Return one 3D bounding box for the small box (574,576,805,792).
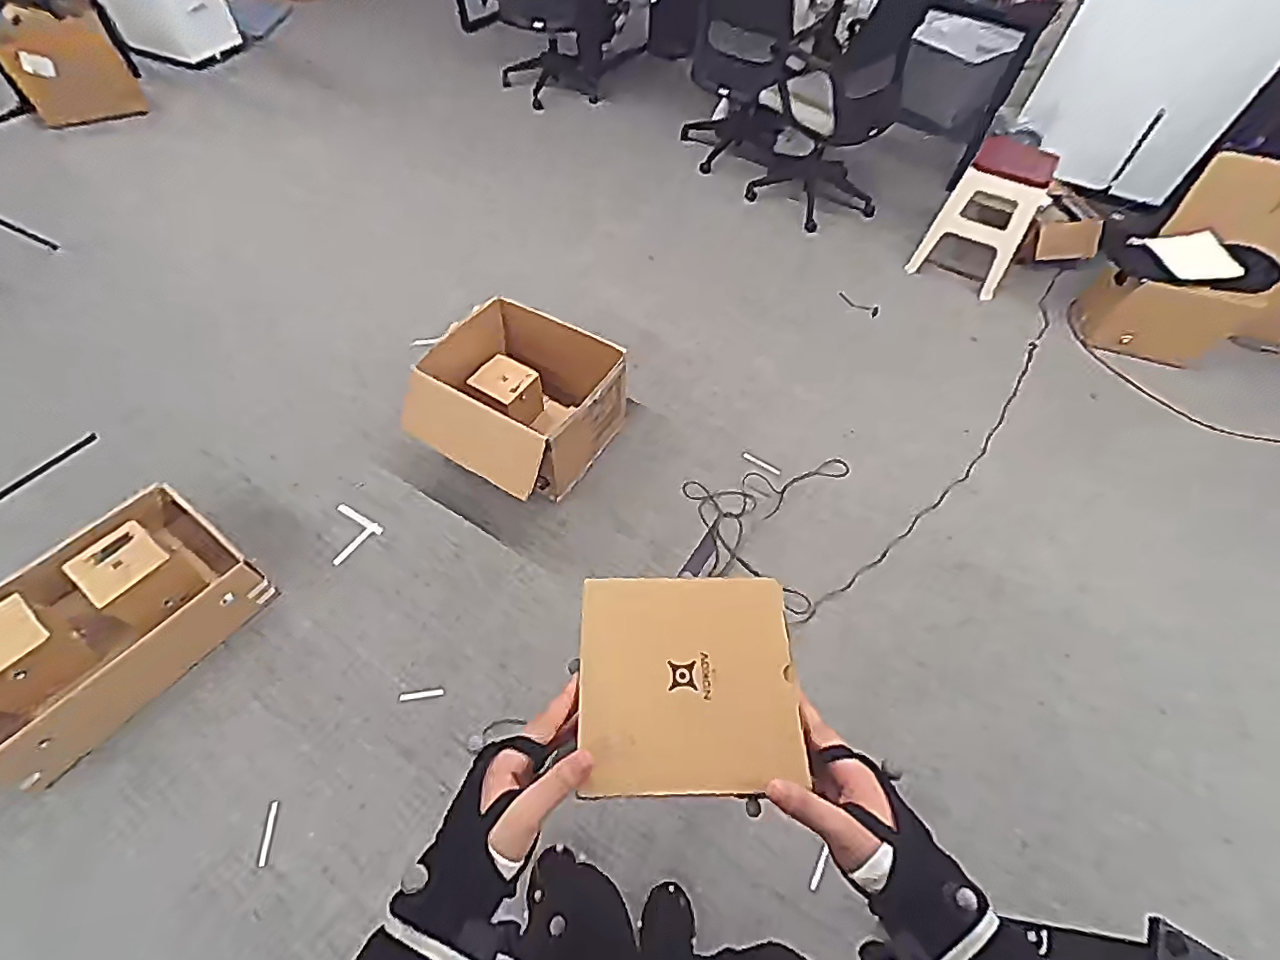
[{"bbox_3d":[0.033,0.197,0.509,0.179,0.176,0.168,1,60,-4],"label":"small box"}]

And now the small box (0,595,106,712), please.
[{"bbox_3d":[-1.429,0.409,1.259,0.168,0.176,0.179,34,59,16],"label":"small box"}]
